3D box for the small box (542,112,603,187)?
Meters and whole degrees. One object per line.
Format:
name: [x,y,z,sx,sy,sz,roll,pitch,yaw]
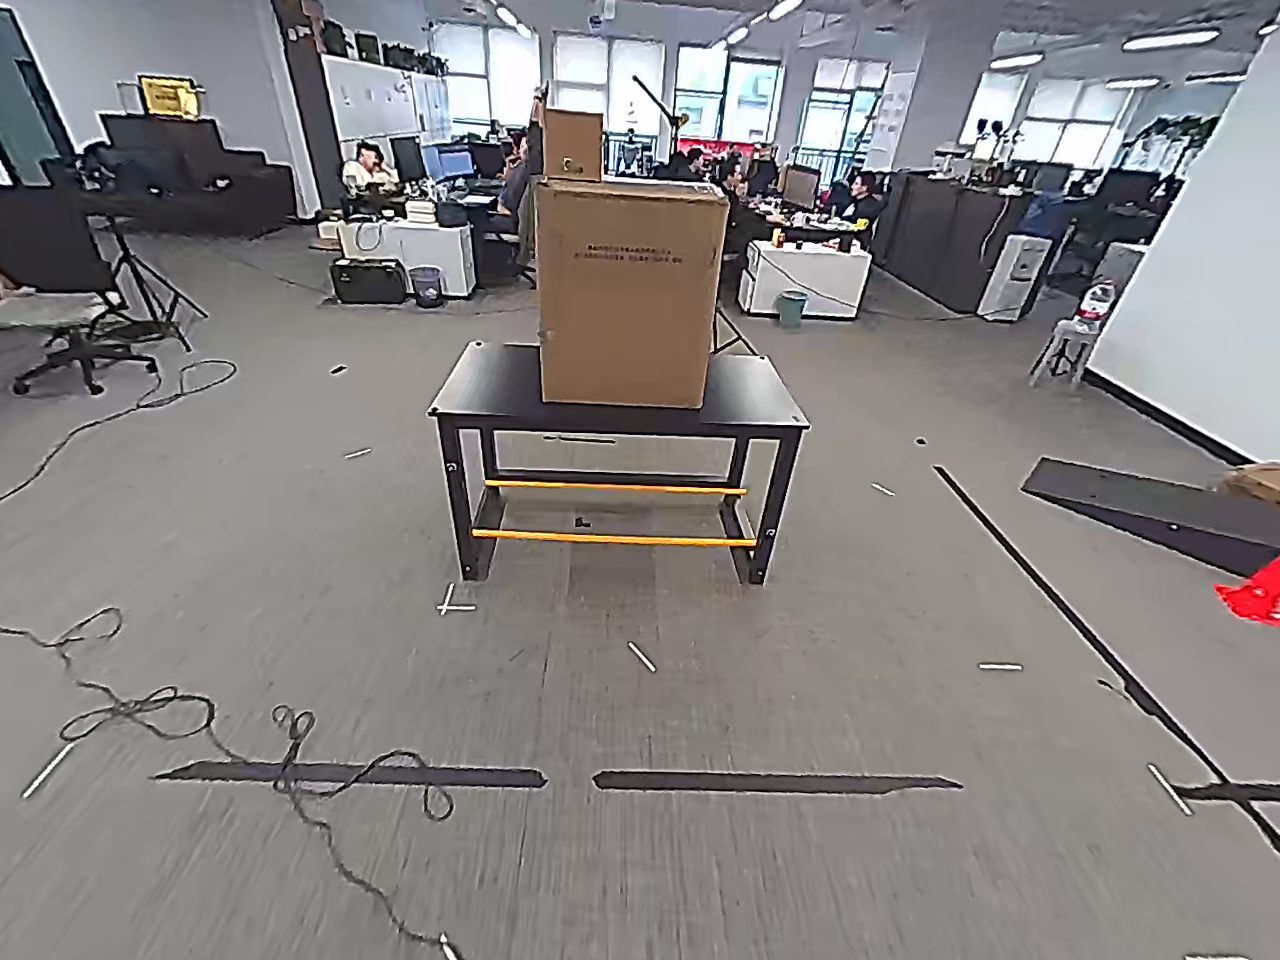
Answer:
small box: [-0.195,-0.959,1.567,0.168,0.176,0.179,-1,34,-6]
